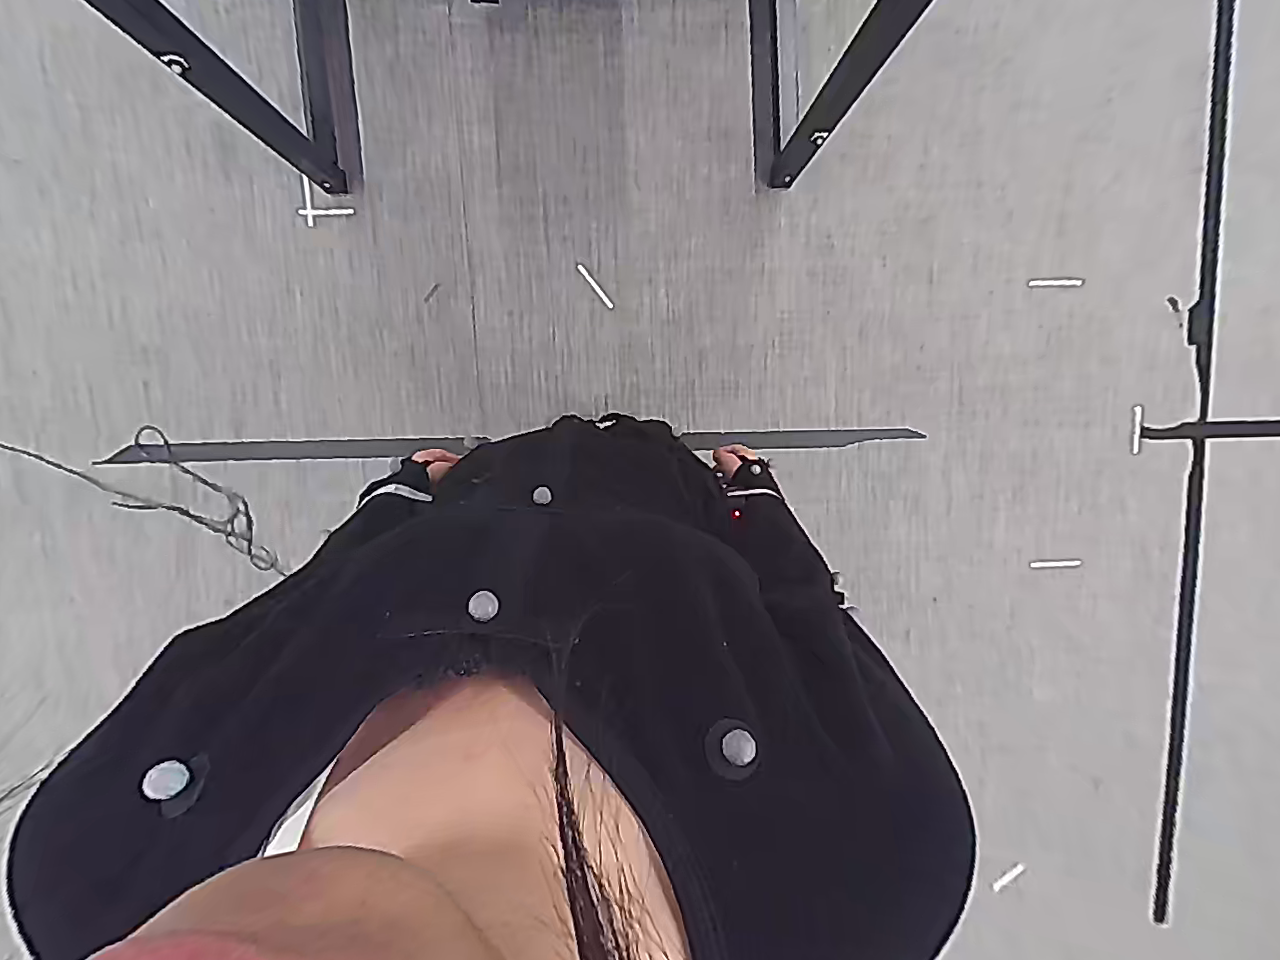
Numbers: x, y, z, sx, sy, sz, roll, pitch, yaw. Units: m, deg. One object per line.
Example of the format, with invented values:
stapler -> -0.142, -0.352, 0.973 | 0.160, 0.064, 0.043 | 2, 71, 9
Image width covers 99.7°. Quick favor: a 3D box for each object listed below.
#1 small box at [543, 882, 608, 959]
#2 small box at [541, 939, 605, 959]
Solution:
small box -> -0.180, 1.284, 1.535 | 0.168, 0.176, 0.179 | -4, 98, -3
small box -> -0.172, 1.315, 1.374 | 0.168, 0.176, 0.179 | -1, 97, -3
